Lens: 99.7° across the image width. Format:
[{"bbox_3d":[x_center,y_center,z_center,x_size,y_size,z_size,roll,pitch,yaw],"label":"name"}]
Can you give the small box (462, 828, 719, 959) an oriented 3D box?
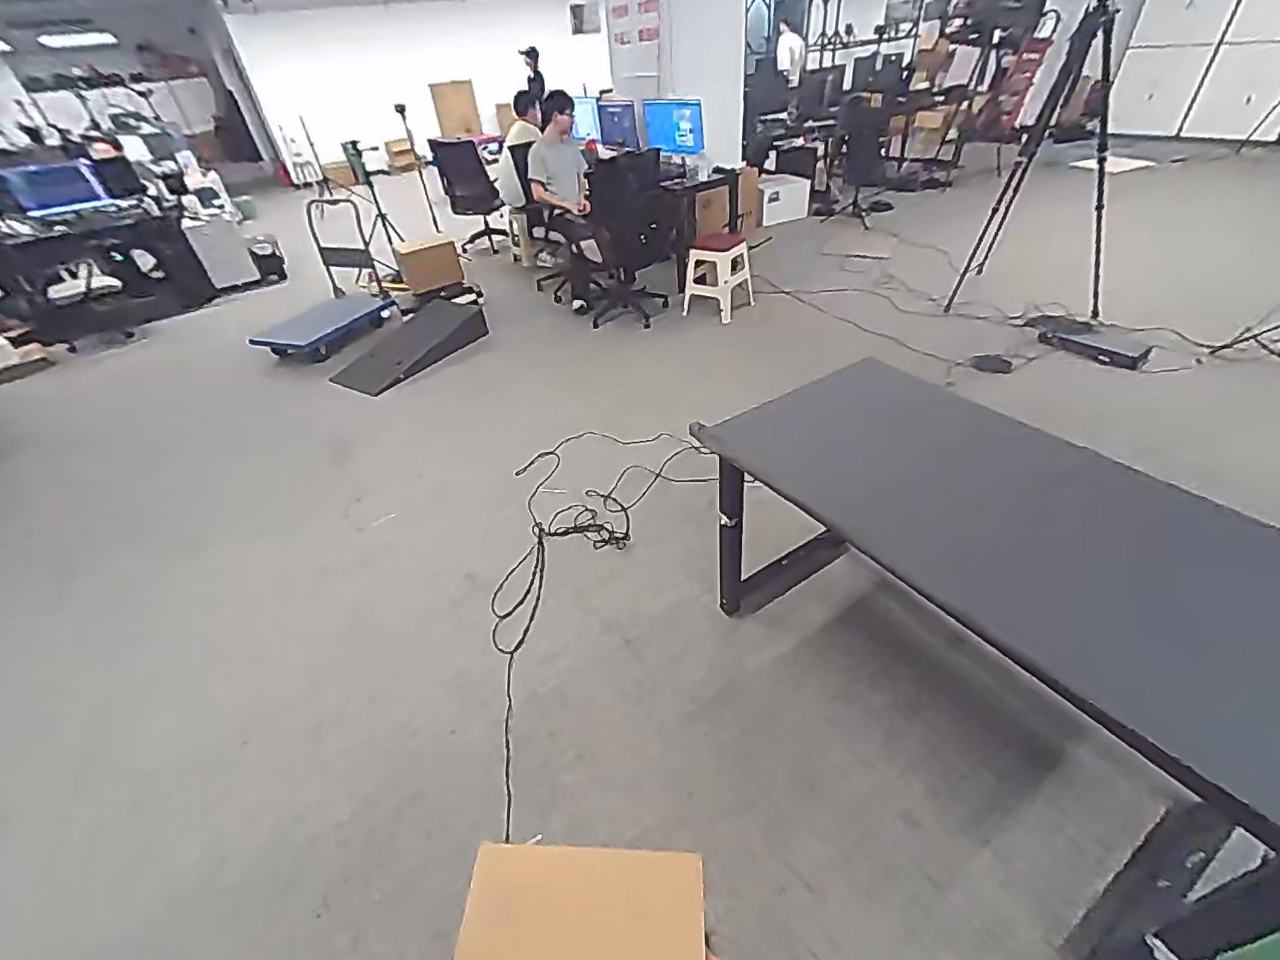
[{"bbox_3d":[-0.031,0.374,0.382,0.168,0.176,0.179,0,43,3],"label":"small box"}]
